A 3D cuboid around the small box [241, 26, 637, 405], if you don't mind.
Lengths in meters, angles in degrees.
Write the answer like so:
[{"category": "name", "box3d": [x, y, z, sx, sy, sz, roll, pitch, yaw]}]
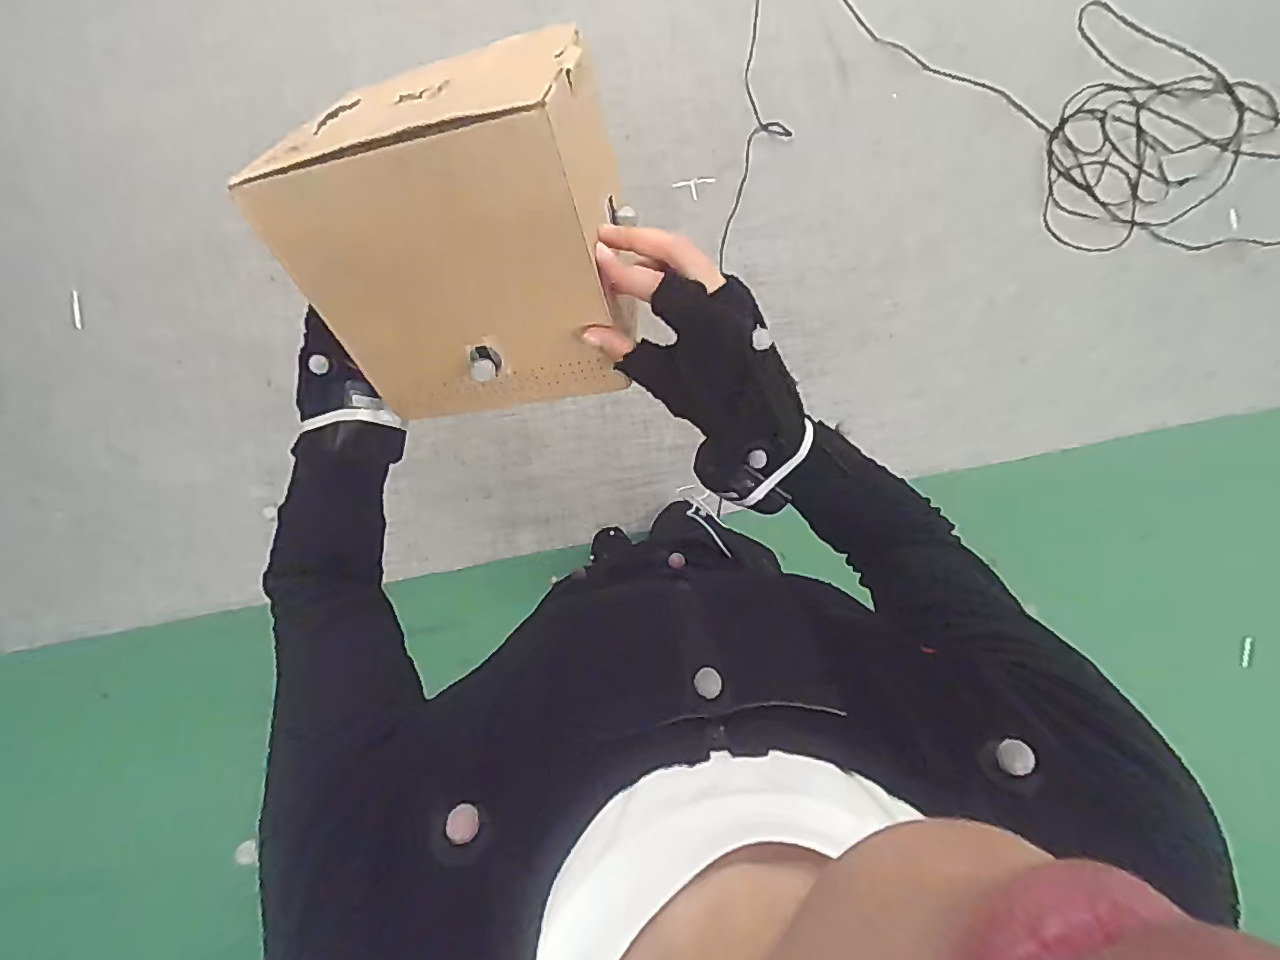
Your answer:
[{"category": "small box", "box3d": [-0.103, -0.173, 0.375, 0.179, 0.176, 0.168, -7, 47, 11]}]
